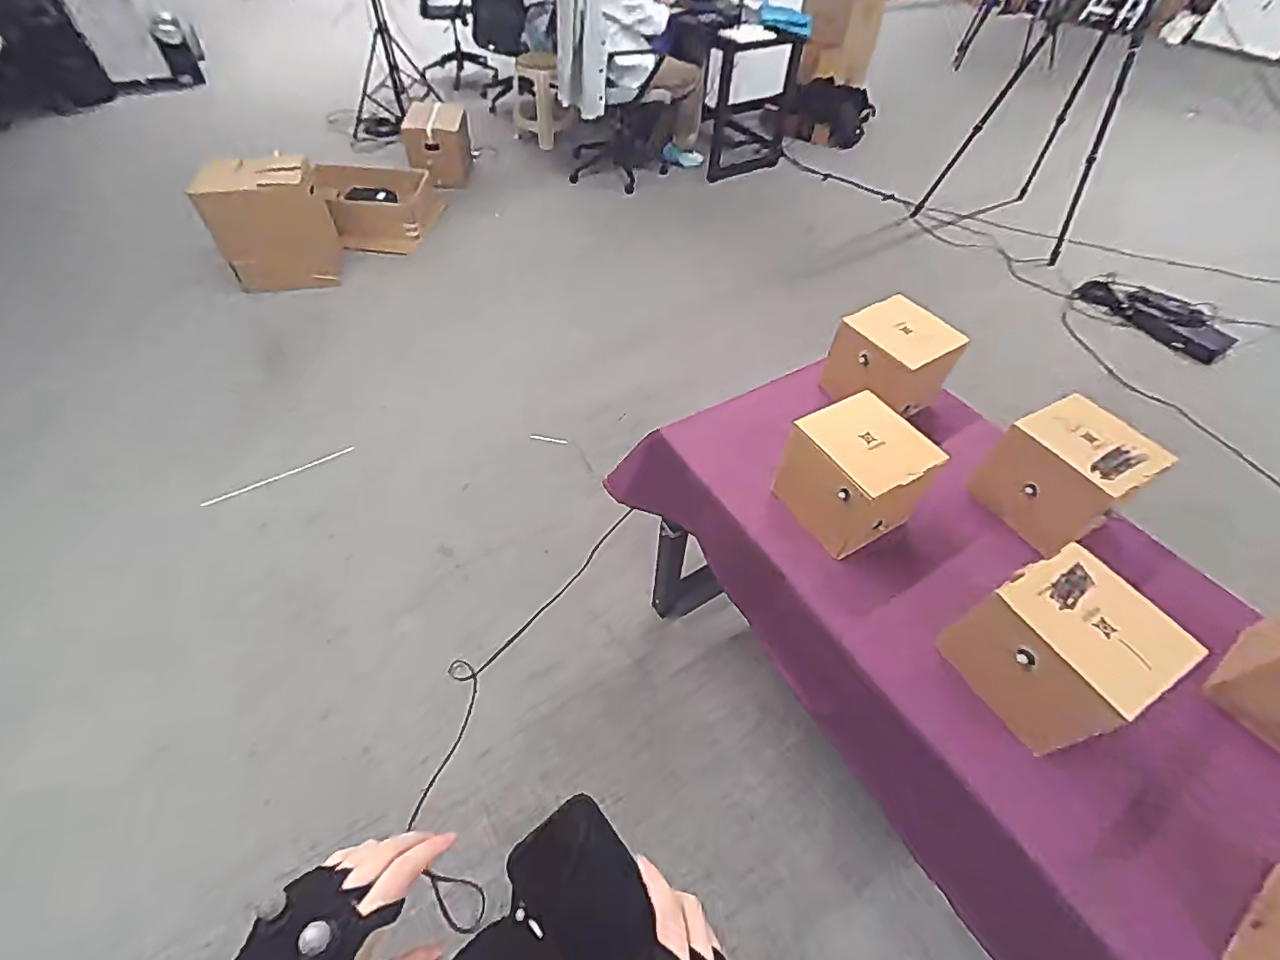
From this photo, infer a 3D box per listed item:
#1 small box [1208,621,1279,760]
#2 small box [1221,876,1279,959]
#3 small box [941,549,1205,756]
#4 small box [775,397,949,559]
[{"bbox_3d":[0.910,0.272,0.695,0.179,0.176,0.168,-27,56,-22],"label":"small box"},{"bbox_3d":[0.734,0.498,0.501,0.168,0.176,0.179,-25,56,-22],"label":"small box"},{"bbox_3d":[0.547,0.228,0.713,0.168,0.176,0.179,-22,56,-19],"label":"small box"},{"bbox_3d":[0.350,-0.003,0.893,0.168,0.176,0.179,-23,57,-20],"label":"small box"}]
